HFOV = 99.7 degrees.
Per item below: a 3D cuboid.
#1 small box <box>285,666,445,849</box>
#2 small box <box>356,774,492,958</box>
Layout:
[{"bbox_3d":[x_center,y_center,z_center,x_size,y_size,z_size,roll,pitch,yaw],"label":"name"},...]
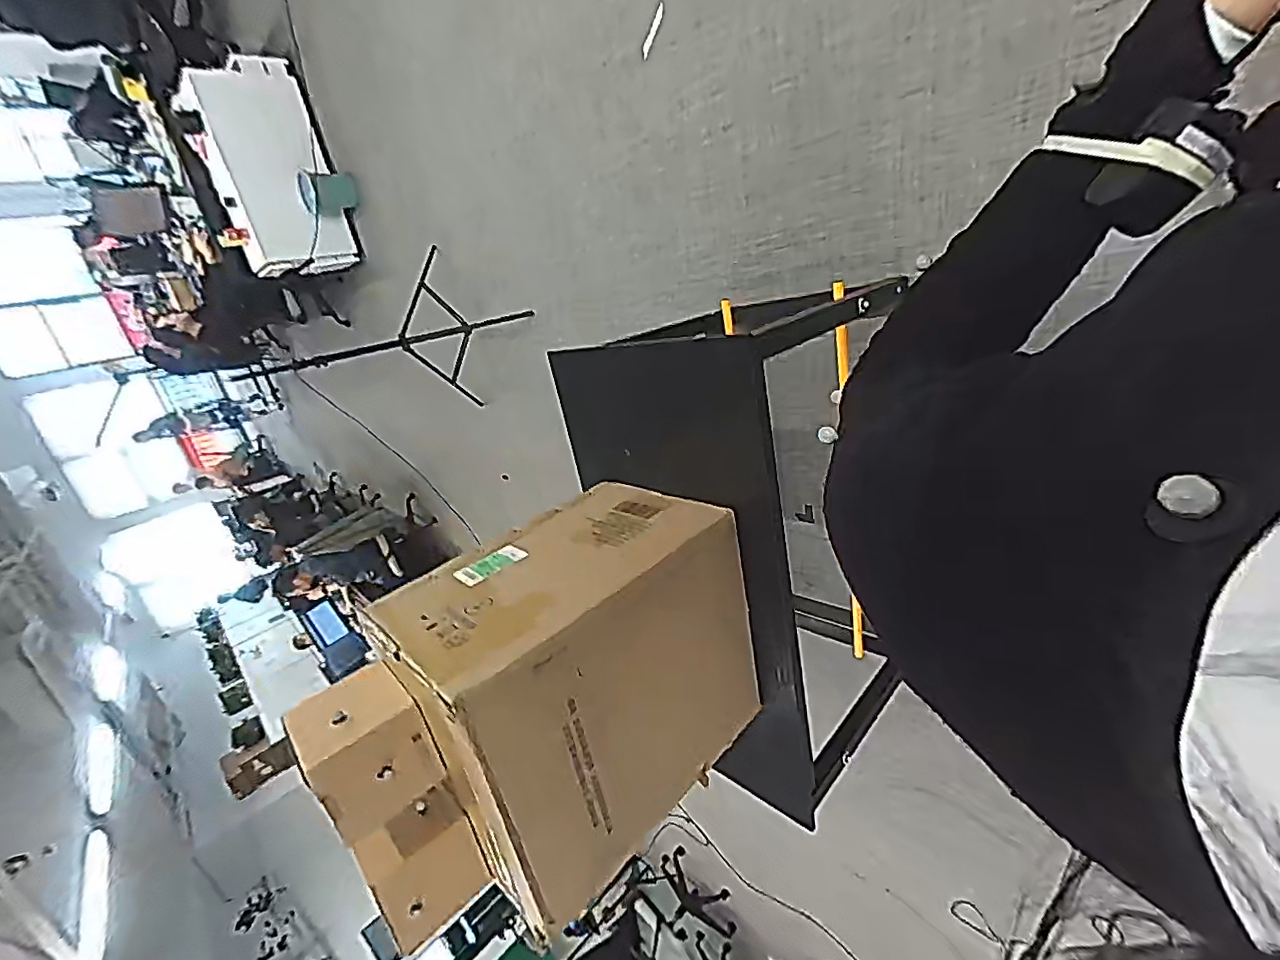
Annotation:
[{"bbox_3d":[-0.445,0.441,0.893,0.179,0.176,0.168,13,122,46],"label":"small box"},{"bbox_3d":[-0.391,0.680,0.976,0.168,0.176,0.179,11,118,47],"label":"small box"}]
